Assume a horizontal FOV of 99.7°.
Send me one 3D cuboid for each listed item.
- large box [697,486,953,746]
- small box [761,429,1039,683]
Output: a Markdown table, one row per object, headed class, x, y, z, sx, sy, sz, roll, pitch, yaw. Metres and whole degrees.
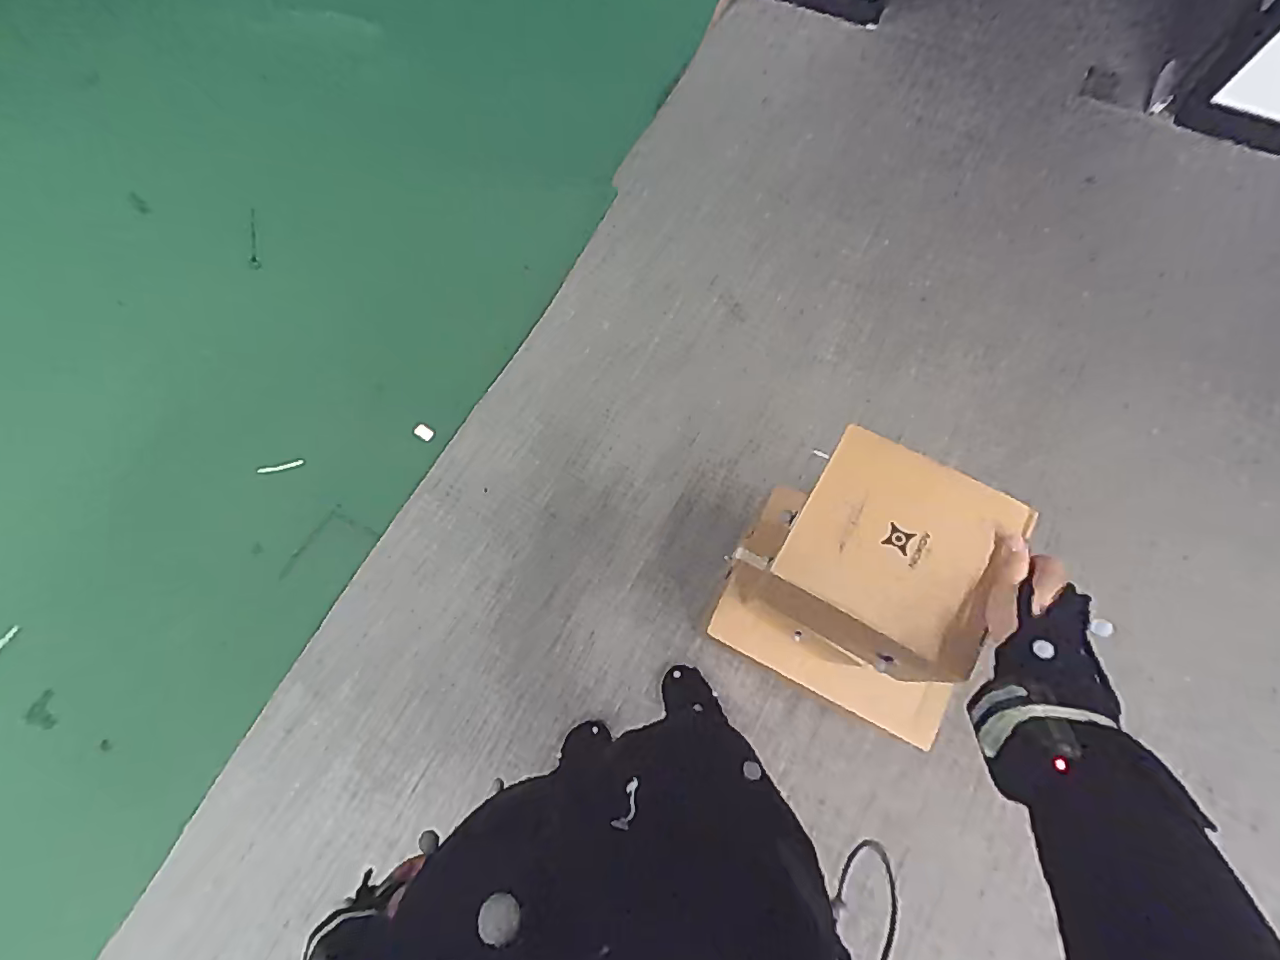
| class | x | y | z | sx | sy | sz | roll | pitch | yaw |
| --- | --- | --- | --- | --- | --- | --- | --- | --- | --- |
| large box | 0.367 | 0.263 | 1.086 | 0.408 | 0.320 | 0.320 | 27 | 77 | 8 |
| small box | 0.239 | 0.082 | 0.543 | 0.179 | 0.176 | 0.168 | 28 | 75 | 17 |
